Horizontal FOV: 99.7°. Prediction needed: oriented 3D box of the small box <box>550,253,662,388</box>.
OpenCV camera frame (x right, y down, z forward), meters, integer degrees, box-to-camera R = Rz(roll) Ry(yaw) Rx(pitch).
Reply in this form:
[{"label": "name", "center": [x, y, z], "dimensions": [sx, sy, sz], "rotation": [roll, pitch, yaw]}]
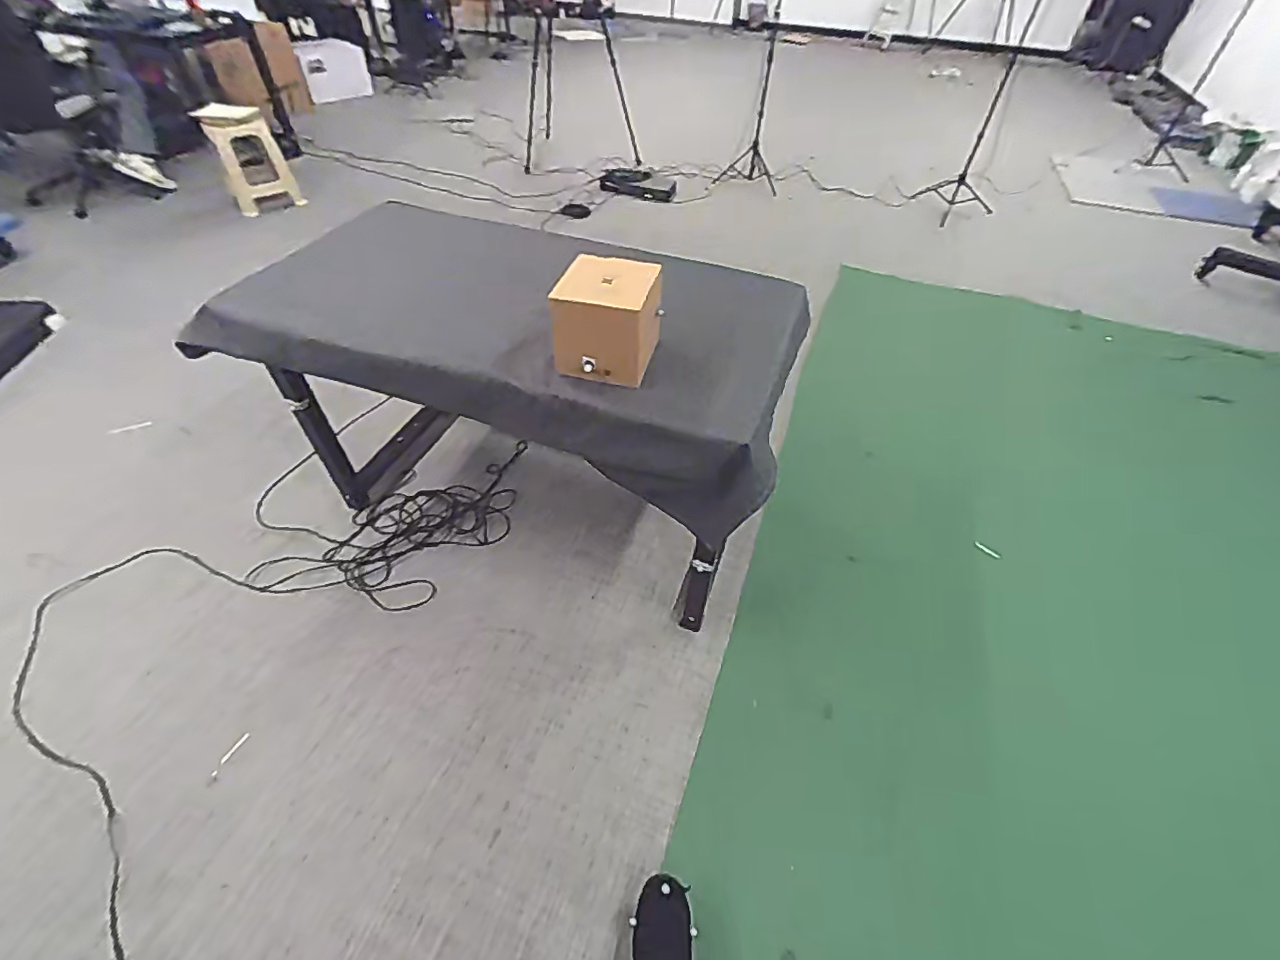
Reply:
[{"label": "small box", "center": [-0.060, -0.303, 1.026], "dimensions": [0.168, 0.176, 0.179], "rotation": [10, 48, 8]}]
